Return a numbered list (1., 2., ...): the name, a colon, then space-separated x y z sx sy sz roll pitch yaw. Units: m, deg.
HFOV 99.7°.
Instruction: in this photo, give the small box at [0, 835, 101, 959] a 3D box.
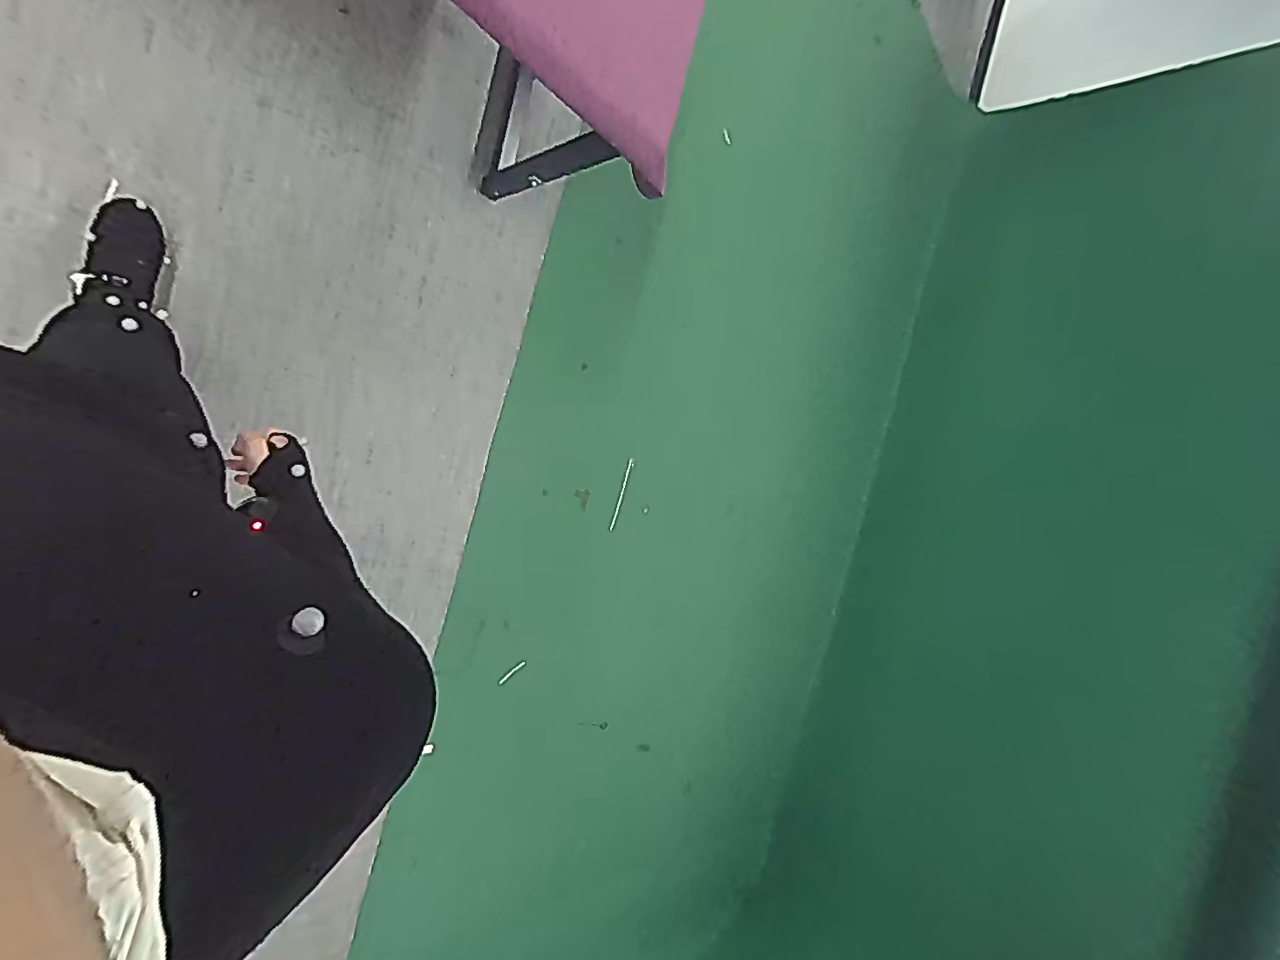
1. small box: -1.264 0.890 1.129 0.168 0.176 0.179 23 86 -46
